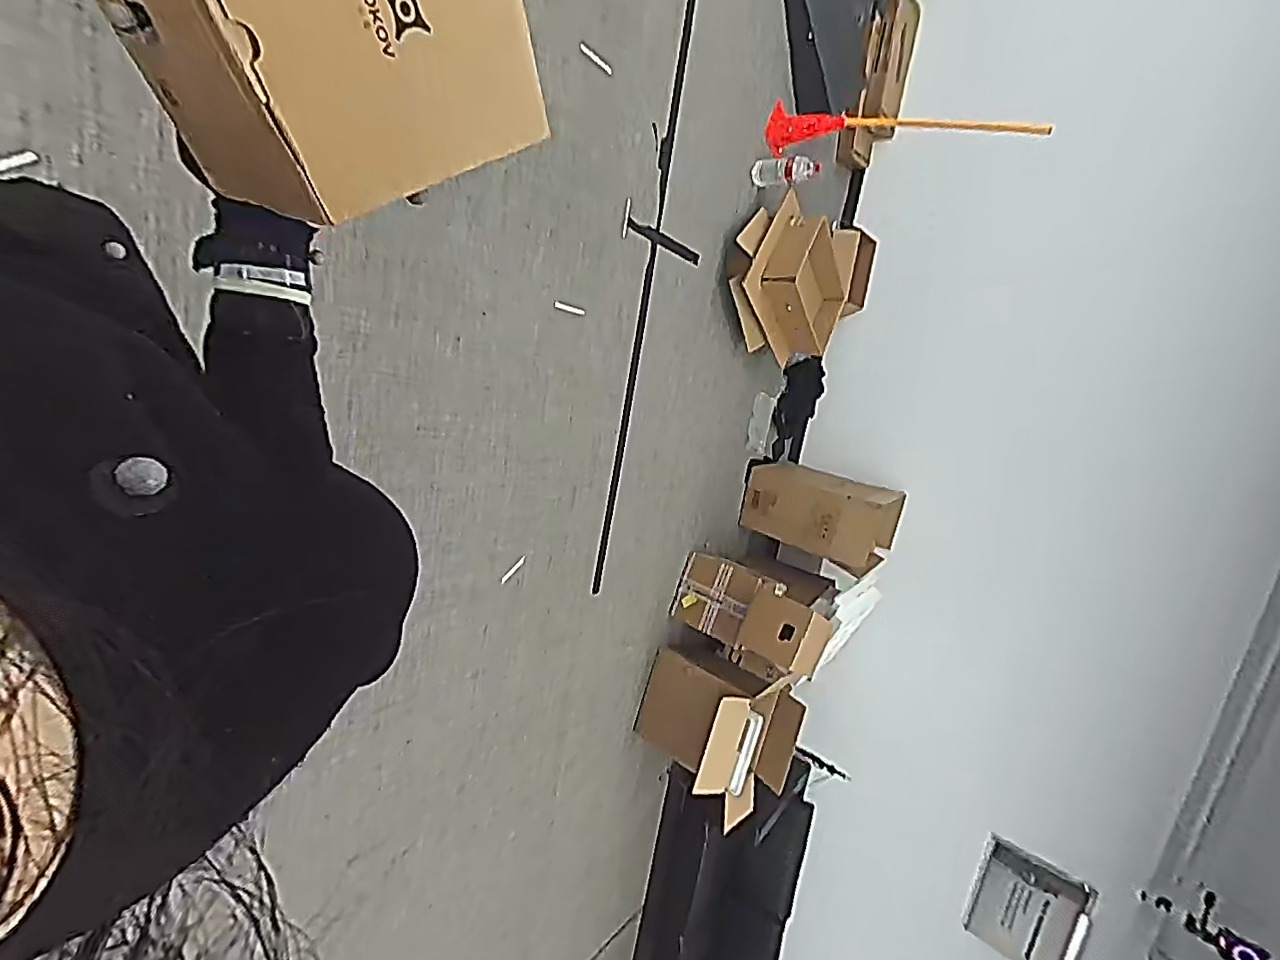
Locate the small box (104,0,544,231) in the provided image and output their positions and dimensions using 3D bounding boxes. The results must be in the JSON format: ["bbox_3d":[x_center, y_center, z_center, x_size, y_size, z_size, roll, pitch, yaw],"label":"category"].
[{"bbox_3d":[-0.194,-0.283,0.337,0.179,0.176,0.168,-45,145,-29],"label":"small box"}]
